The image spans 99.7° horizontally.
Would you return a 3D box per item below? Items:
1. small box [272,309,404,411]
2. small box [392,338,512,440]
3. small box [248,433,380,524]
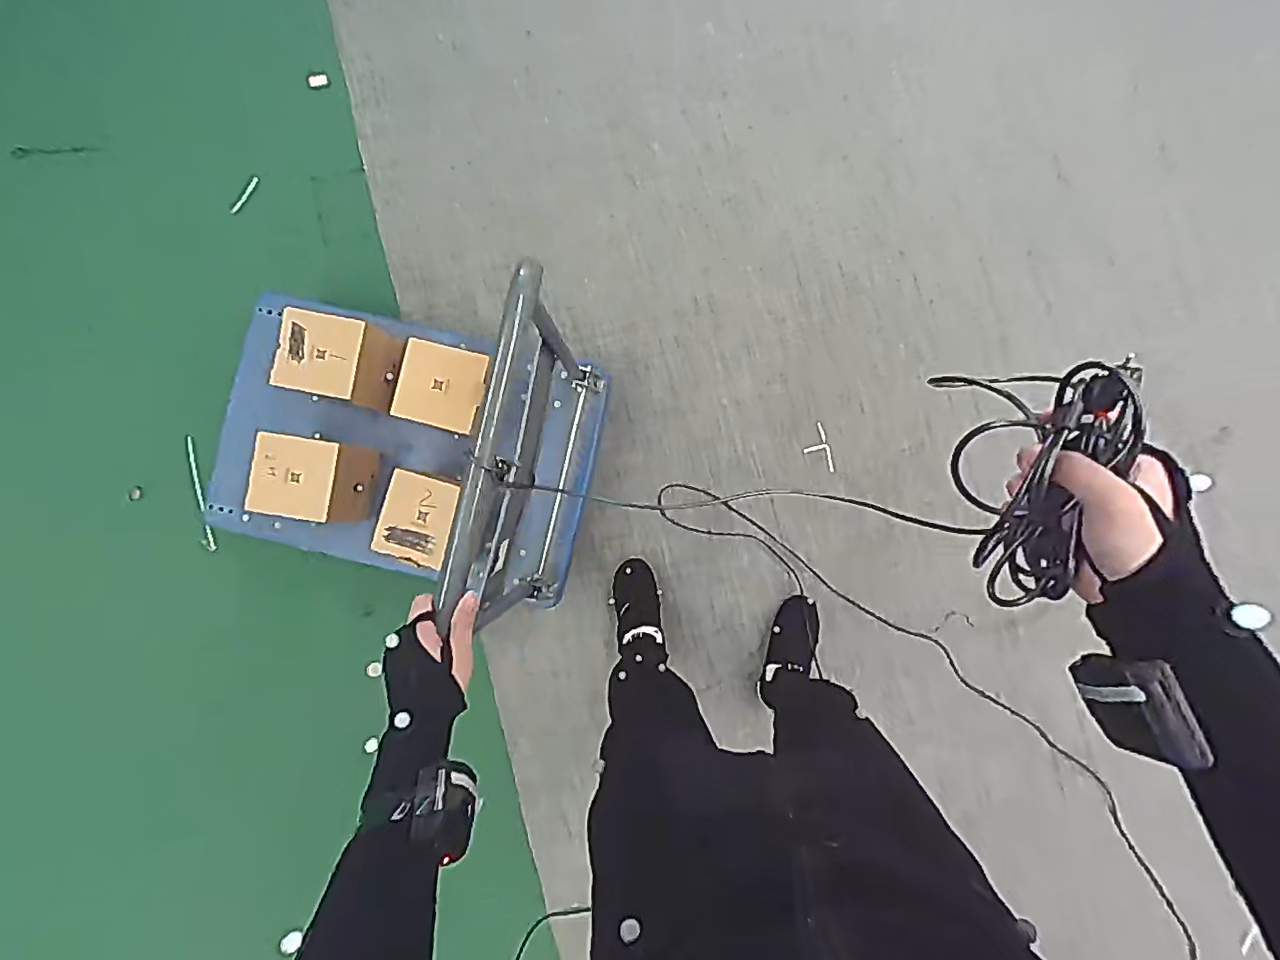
[{"bbox_3d":[-0.652,-0.255,1.184,0.179,0.176,0.168,11,89,2],"label":"small box"},{"bbox_3d":[-0.398,-0.189,1.172,0.179,0.176,0.168,14,89,2],"label":"small box"},{"bbox_3d":[-0.698,-0.002,1.178,0.179,0.176,0.168,9,88,3],"label":"small box"}]
